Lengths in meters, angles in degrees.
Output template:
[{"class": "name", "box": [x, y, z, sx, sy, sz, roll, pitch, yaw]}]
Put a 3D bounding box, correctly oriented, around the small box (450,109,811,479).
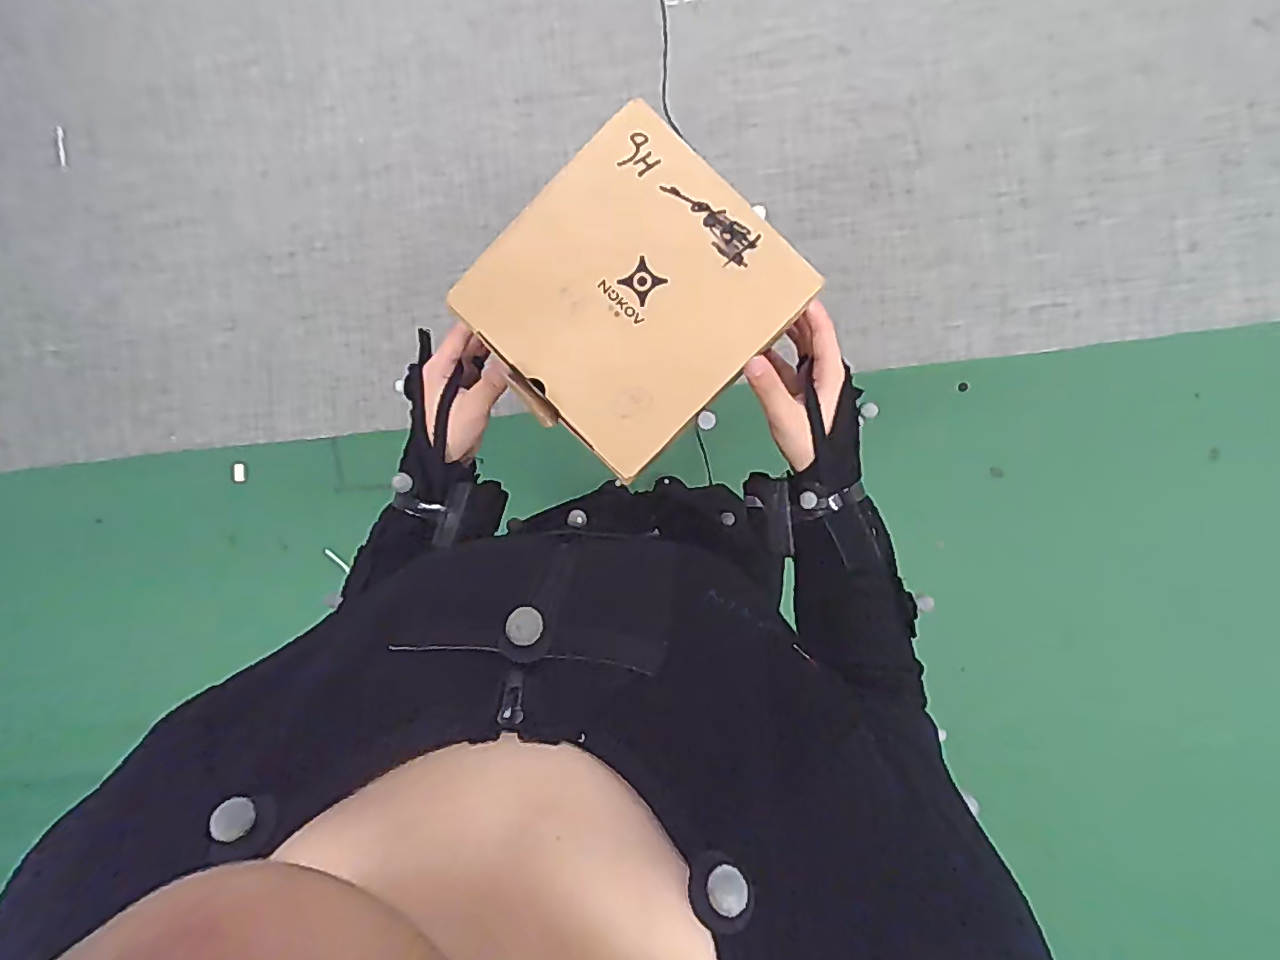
[{"class": "small box", "box": [-0.003, -0.118, 0.421, 0.168, 0.176, 0.179, 45, 94, 1]}]
